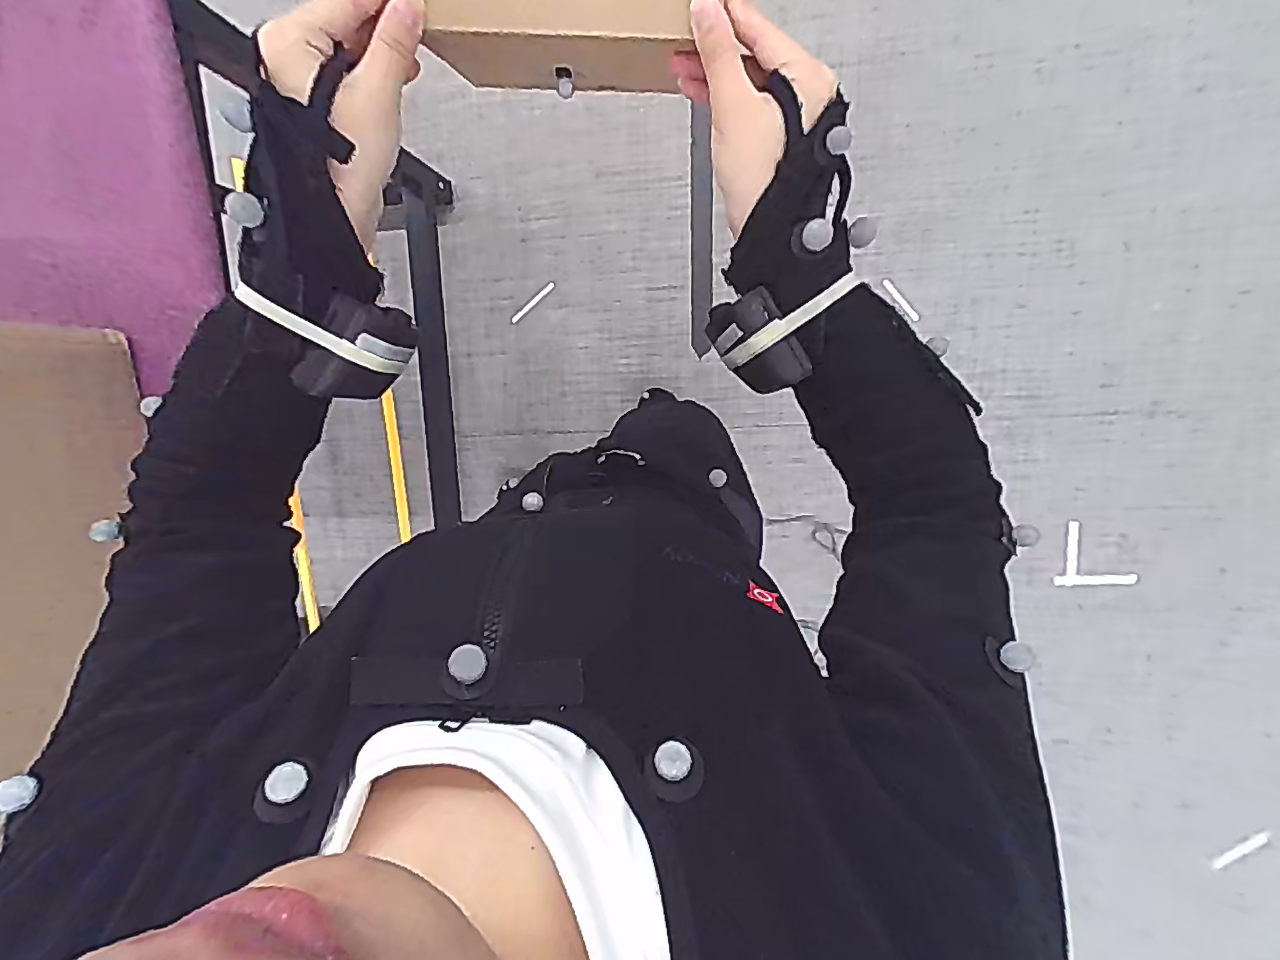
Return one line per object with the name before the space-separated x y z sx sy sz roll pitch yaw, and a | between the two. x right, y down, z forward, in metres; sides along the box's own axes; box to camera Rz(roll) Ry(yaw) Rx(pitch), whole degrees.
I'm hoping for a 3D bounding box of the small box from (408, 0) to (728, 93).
small box | -0.036 -0.342 0.311 0.168 0.176 0.179 0 117 -4
